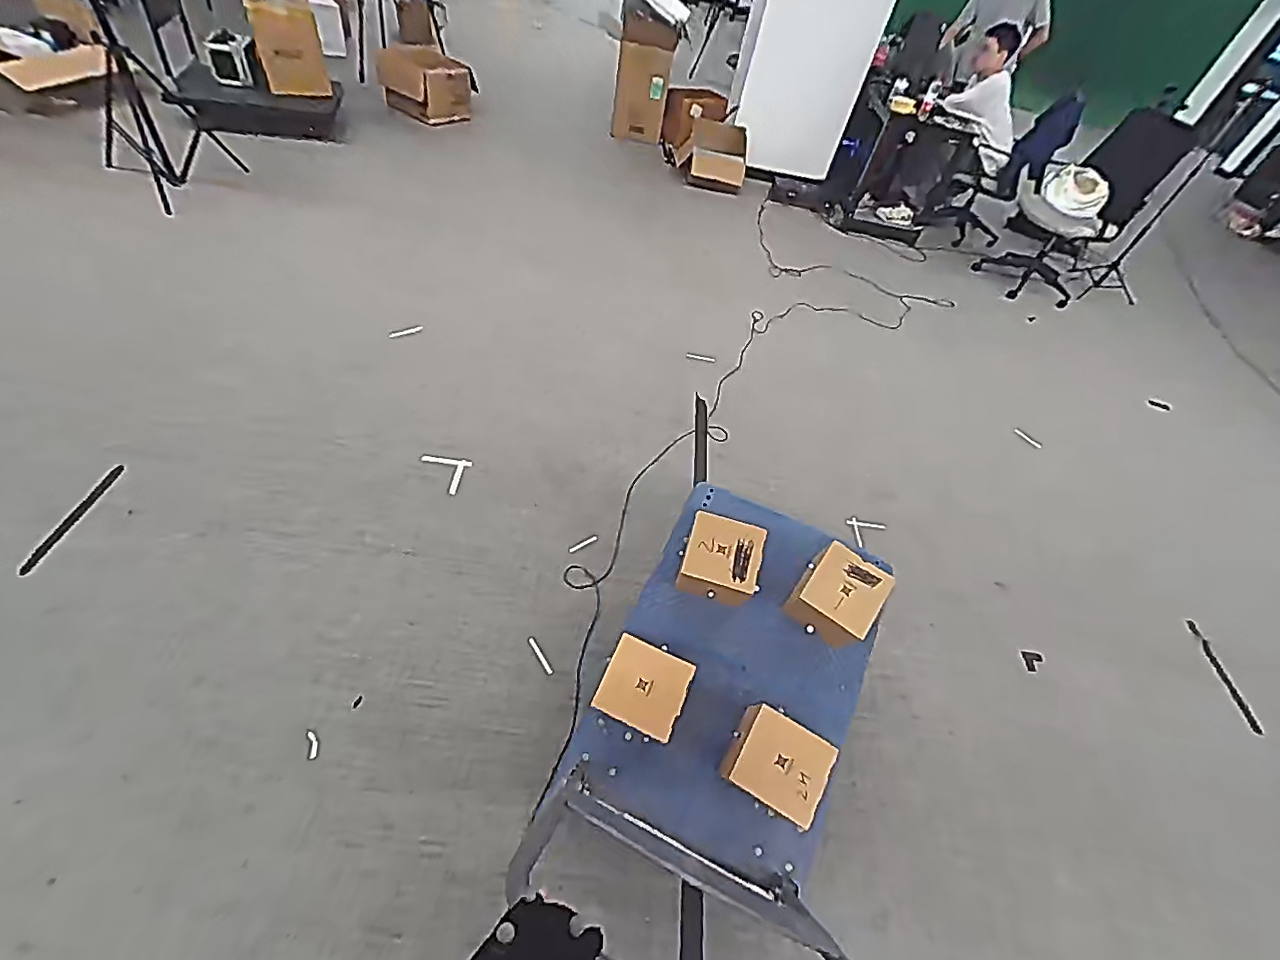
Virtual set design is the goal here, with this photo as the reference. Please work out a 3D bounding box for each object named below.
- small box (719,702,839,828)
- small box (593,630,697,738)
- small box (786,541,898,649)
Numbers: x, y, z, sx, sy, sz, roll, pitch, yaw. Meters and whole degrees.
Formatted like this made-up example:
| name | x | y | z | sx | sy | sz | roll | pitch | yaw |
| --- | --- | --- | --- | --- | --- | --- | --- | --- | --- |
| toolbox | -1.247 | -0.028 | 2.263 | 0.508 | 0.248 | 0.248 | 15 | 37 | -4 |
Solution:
| name | x | y | z | sx | sy | sz | roll | pitch | yaw |
| --- | --- | --- | --- | --- | --- | --- | --- | --- | --- |
| small box | 0.287 | 0.602 | 1.155 | 0.179 | 0.176 | 0.168 | 30 | 68 | 12 |
| small box | 0.007 | 0.462 | 1.214 | 0.179 | 0.176 | 0.168 | 24 | 66 | 7 |
| small box | 0.480 | 0.283 | 1.311 | 0.168 | 0.176 | 0.179 | 35 | 70 | 14 |
